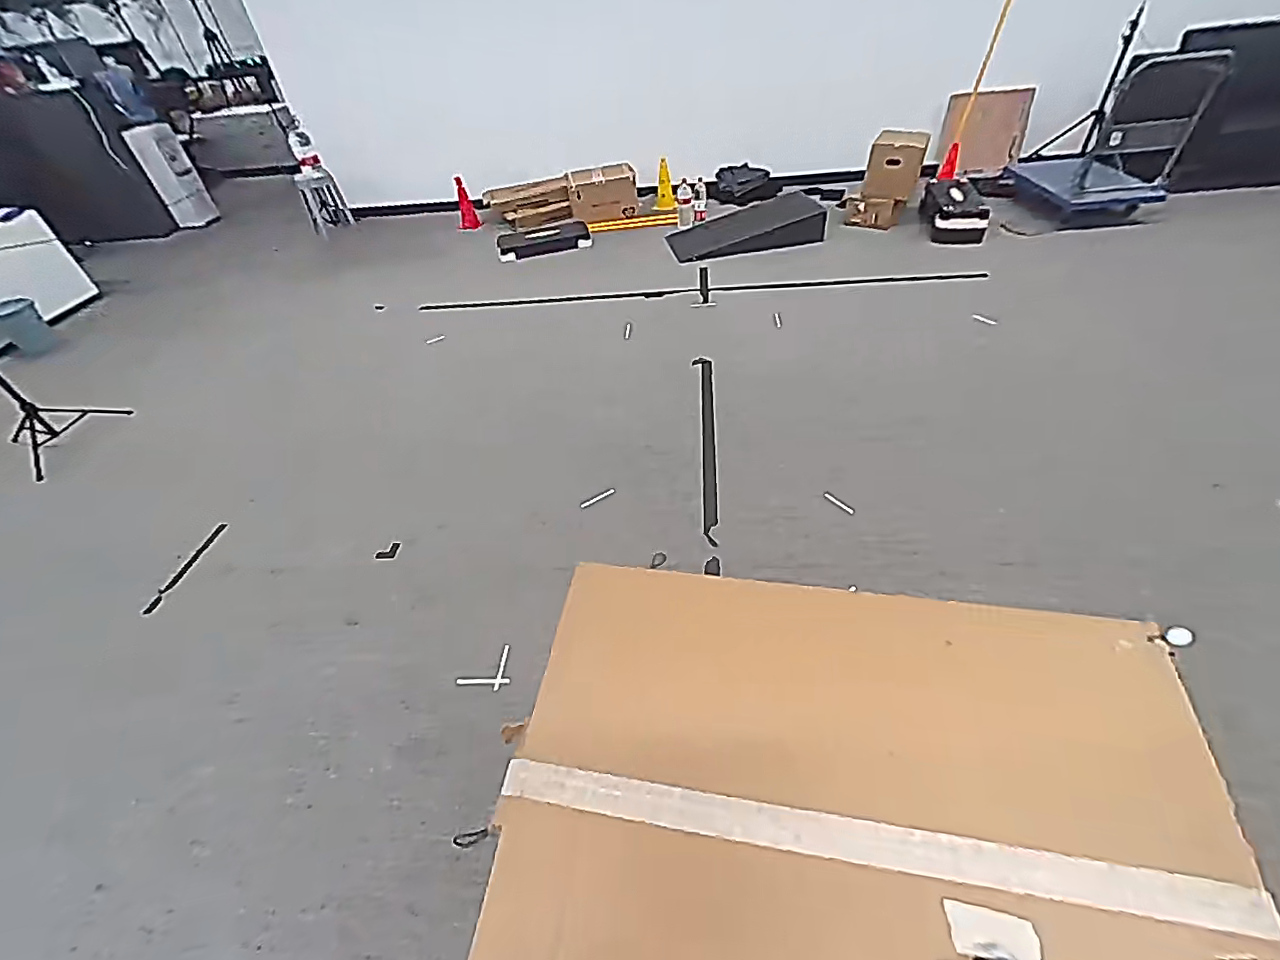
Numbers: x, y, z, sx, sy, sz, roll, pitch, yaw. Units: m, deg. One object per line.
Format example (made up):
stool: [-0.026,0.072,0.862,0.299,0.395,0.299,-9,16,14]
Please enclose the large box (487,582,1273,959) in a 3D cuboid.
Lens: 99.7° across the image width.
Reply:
large box: [0.134,0.304,0.430,0.408,0.320,0.320,4,54,10]
